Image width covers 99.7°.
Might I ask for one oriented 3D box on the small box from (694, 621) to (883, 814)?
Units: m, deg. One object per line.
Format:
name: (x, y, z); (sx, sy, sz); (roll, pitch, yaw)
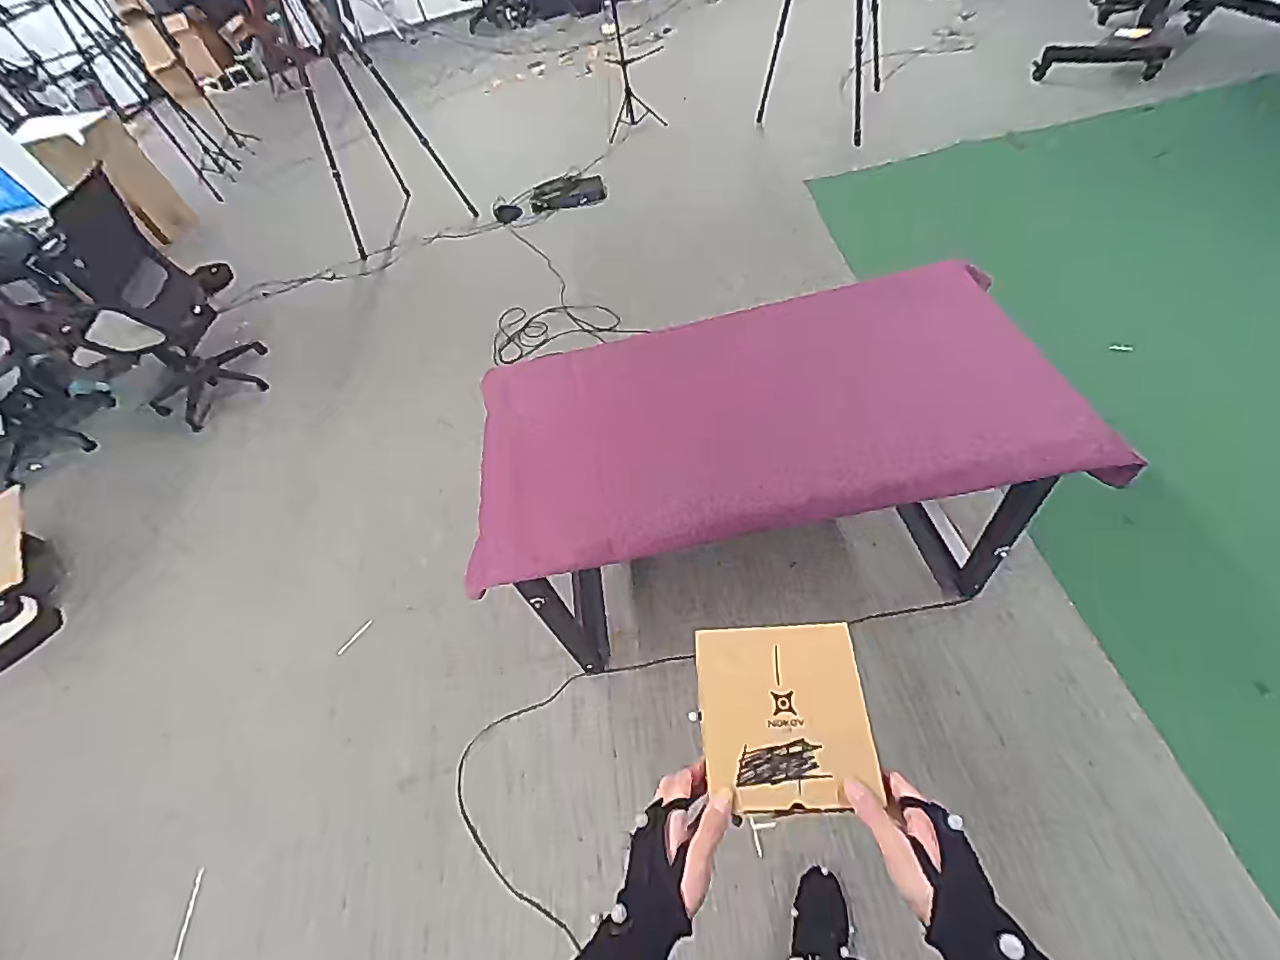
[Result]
small box: (0.151, 0.272, 0.613); (0.168, 0.176, 0.179); (-4, 58, 4)
